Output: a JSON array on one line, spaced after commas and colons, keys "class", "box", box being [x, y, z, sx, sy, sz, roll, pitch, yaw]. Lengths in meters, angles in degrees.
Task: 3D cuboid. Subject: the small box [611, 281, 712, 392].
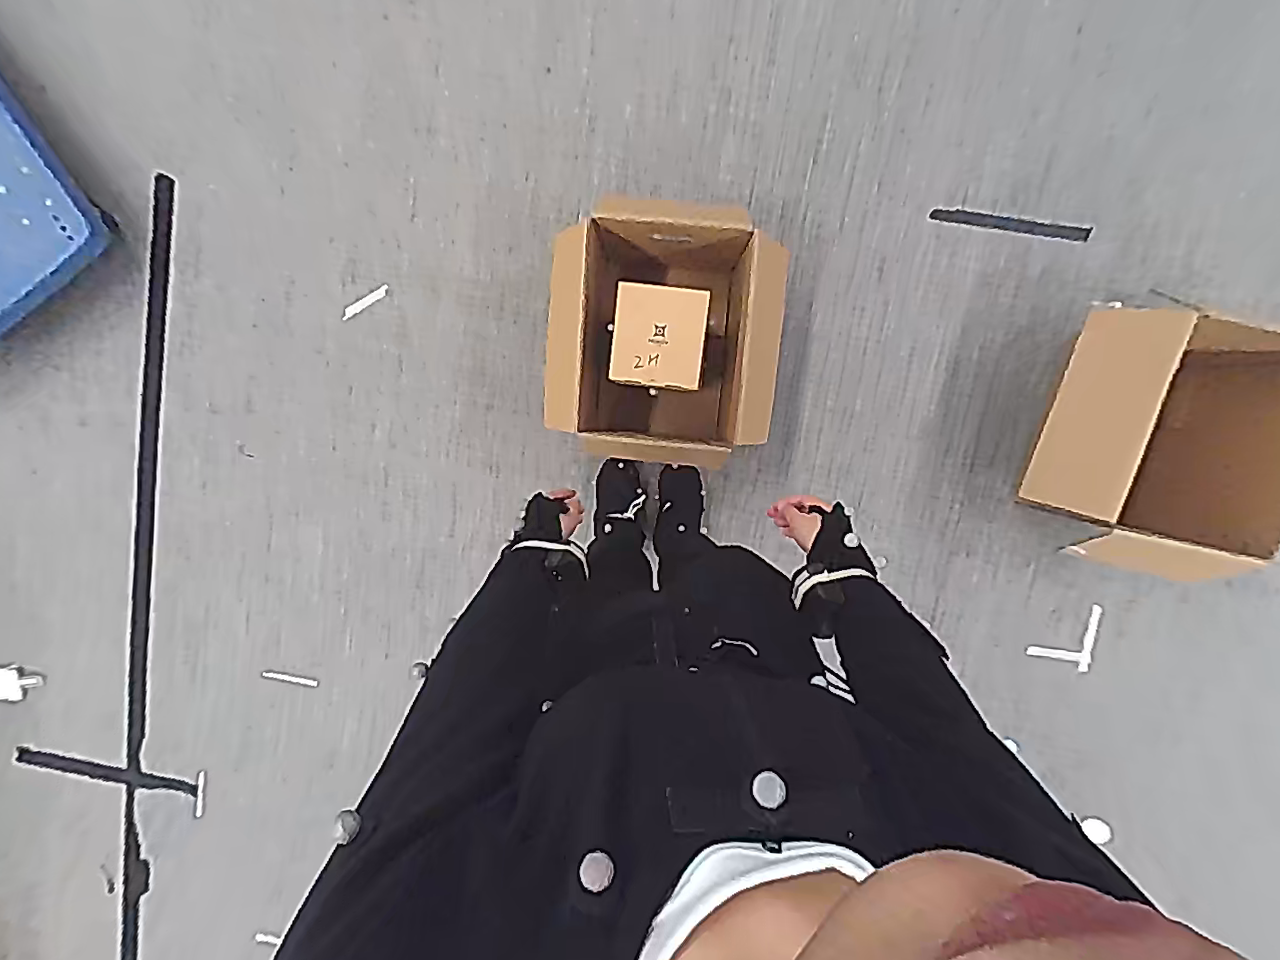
[{"class": "small box", "box": [0.040, -0.269, 1.049, 0.168, 0.176, 0.179, 7, 98, 2]}]
